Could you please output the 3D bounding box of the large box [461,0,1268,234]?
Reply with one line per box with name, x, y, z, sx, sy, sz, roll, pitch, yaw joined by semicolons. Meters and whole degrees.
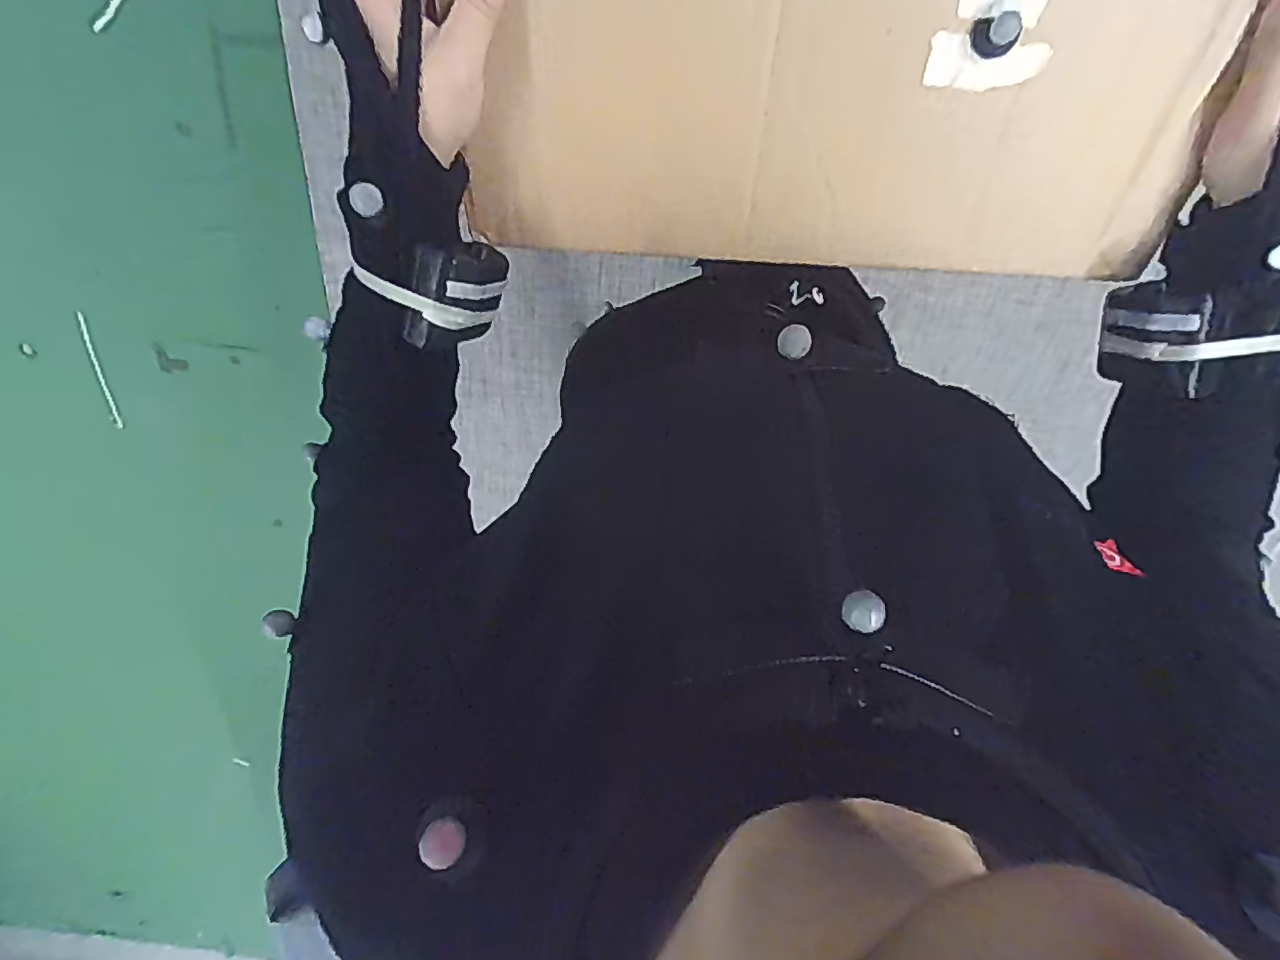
large box;0.110;-0.366;0.355;0.408;0.320;0.320;2;129;0
